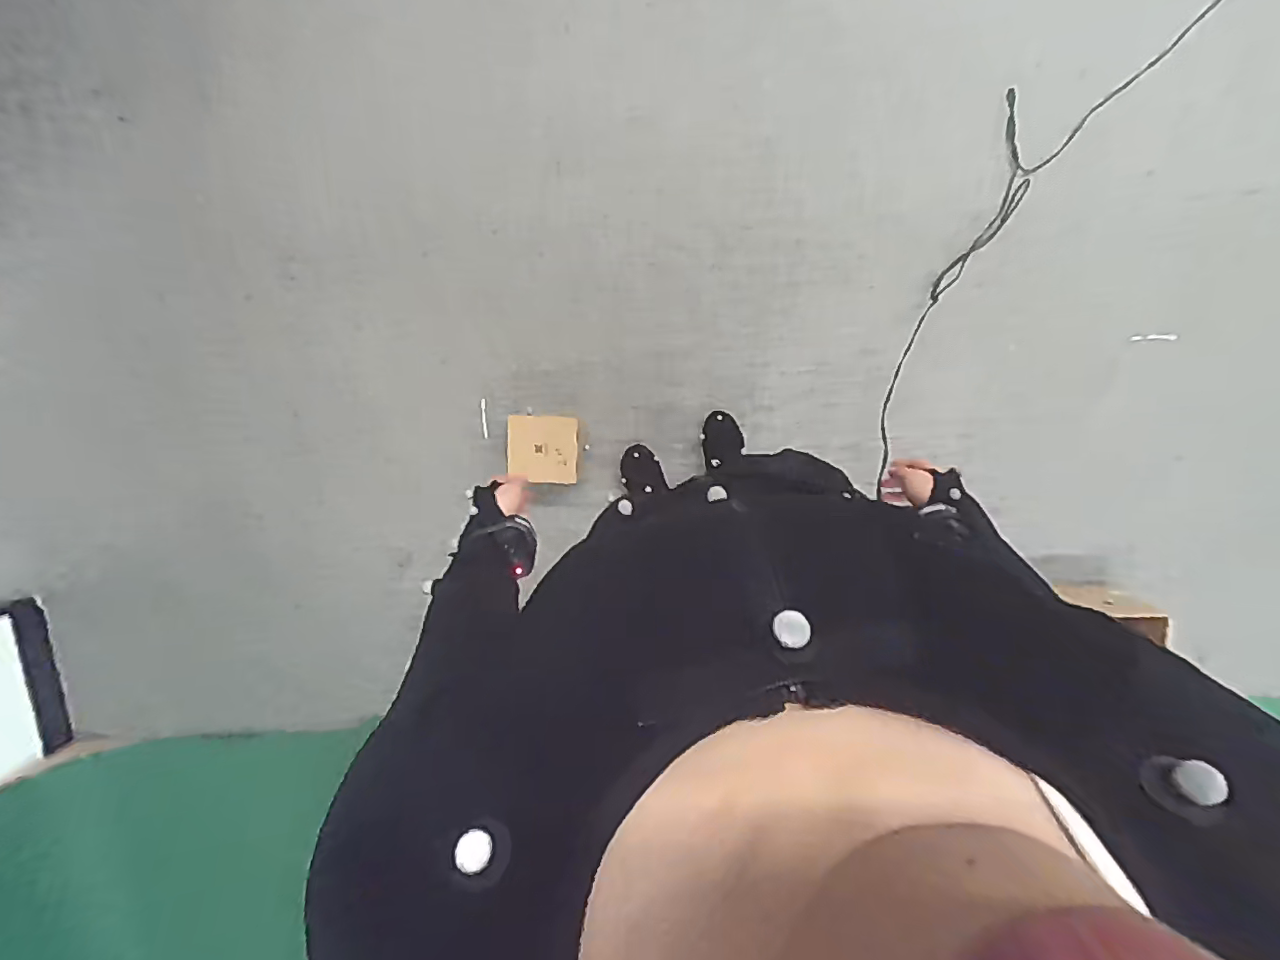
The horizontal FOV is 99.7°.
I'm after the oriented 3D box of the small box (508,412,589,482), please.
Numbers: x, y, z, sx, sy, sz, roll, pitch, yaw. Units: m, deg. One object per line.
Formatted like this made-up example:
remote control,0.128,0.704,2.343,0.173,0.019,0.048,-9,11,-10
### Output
small box,-0.235,-0.090,1.411,0.179,0.176,0.168,3,99,2
